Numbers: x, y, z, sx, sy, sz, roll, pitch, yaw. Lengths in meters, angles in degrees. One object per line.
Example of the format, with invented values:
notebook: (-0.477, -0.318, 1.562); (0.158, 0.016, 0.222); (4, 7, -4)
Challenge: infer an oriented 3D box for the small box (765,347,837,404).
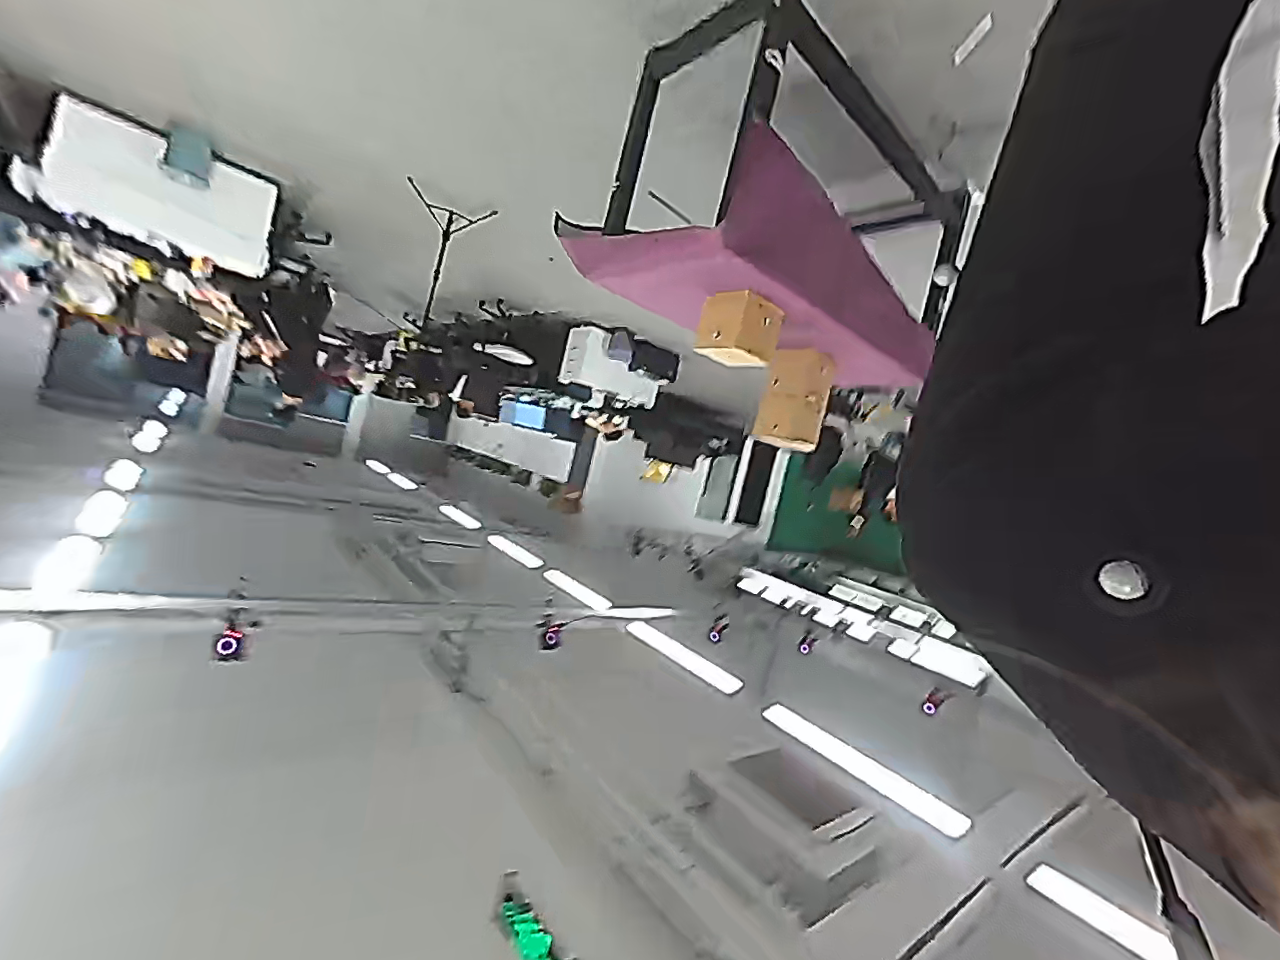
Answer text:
small box: (0.595, -0.387, 1.995); (0.168, 0.176, 0.179); (12, -178, -40)

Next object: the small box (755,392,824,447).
small box: (0.558, -0.227, 2.001); (0.168, 0.176, 0.179); (13, -177, -36)

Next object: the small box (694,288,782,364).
small box: (0.290, -0.449, 1.592); (0.168, 0.176, 0.179); (12, -178, -38)
